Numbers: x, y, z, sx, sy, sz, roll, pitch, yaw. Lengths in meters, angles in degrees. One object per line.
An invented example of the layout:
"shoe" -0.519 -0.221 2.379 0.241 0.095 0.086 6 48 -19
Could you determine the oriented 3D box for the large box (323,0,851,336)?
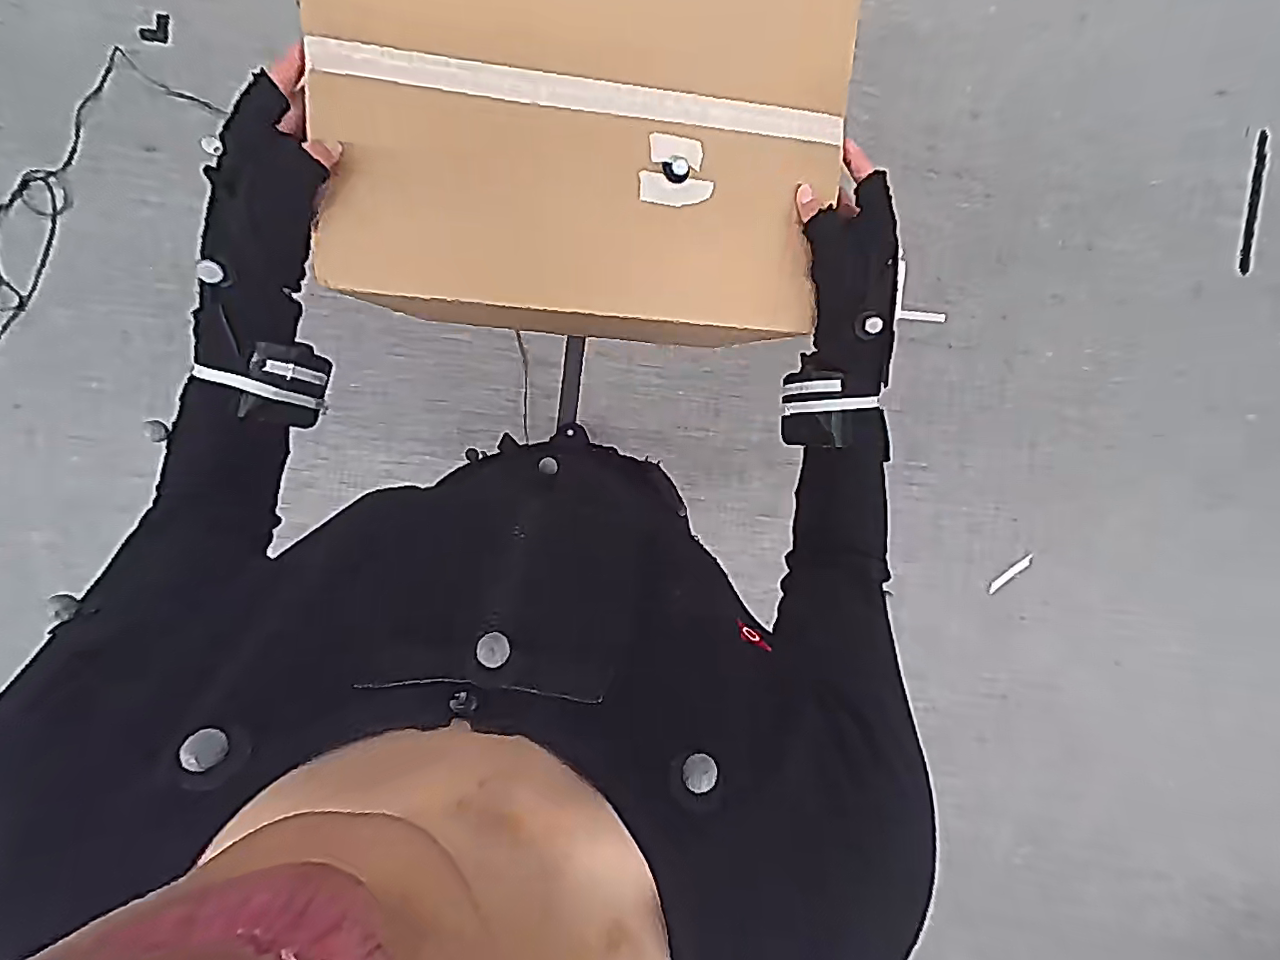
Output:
"large box" -0.055 -0.328 0.565 0.408 0.320 0.320 2 102 -9
